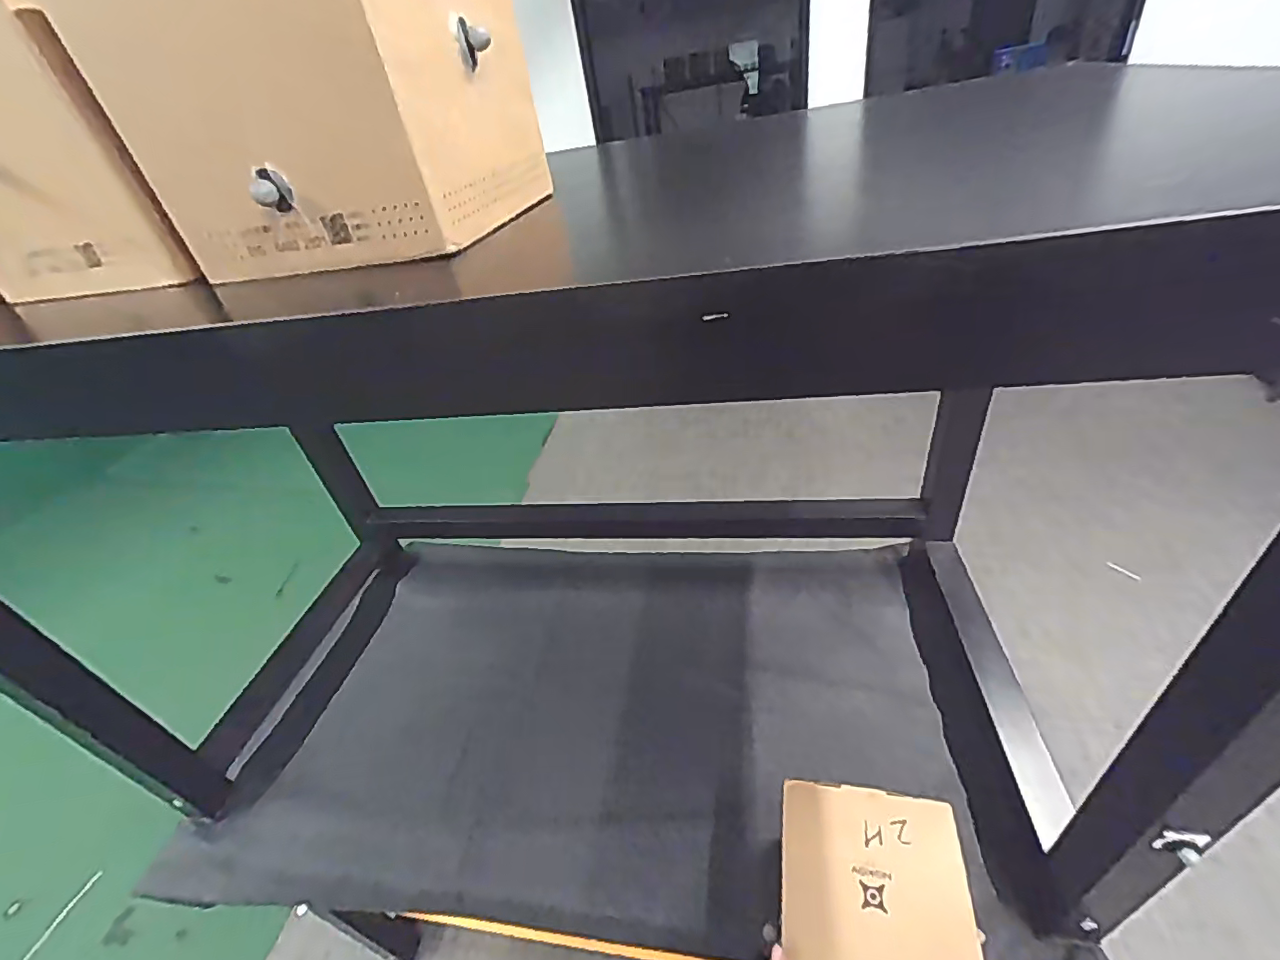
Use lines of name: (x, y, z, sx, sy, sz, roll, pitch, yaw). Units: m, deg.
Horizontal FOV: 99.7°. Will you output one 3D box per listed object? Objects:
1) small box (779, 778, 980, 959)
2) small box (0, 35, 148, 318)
small box: (0.229, 0.443, 0.552, 0.168, 0.176, 0.179, 1, 38, 15)
small box: (-0.551, -0.228, 0.423, 0.168, 0.176, 0.179, 0, 38, 14)
